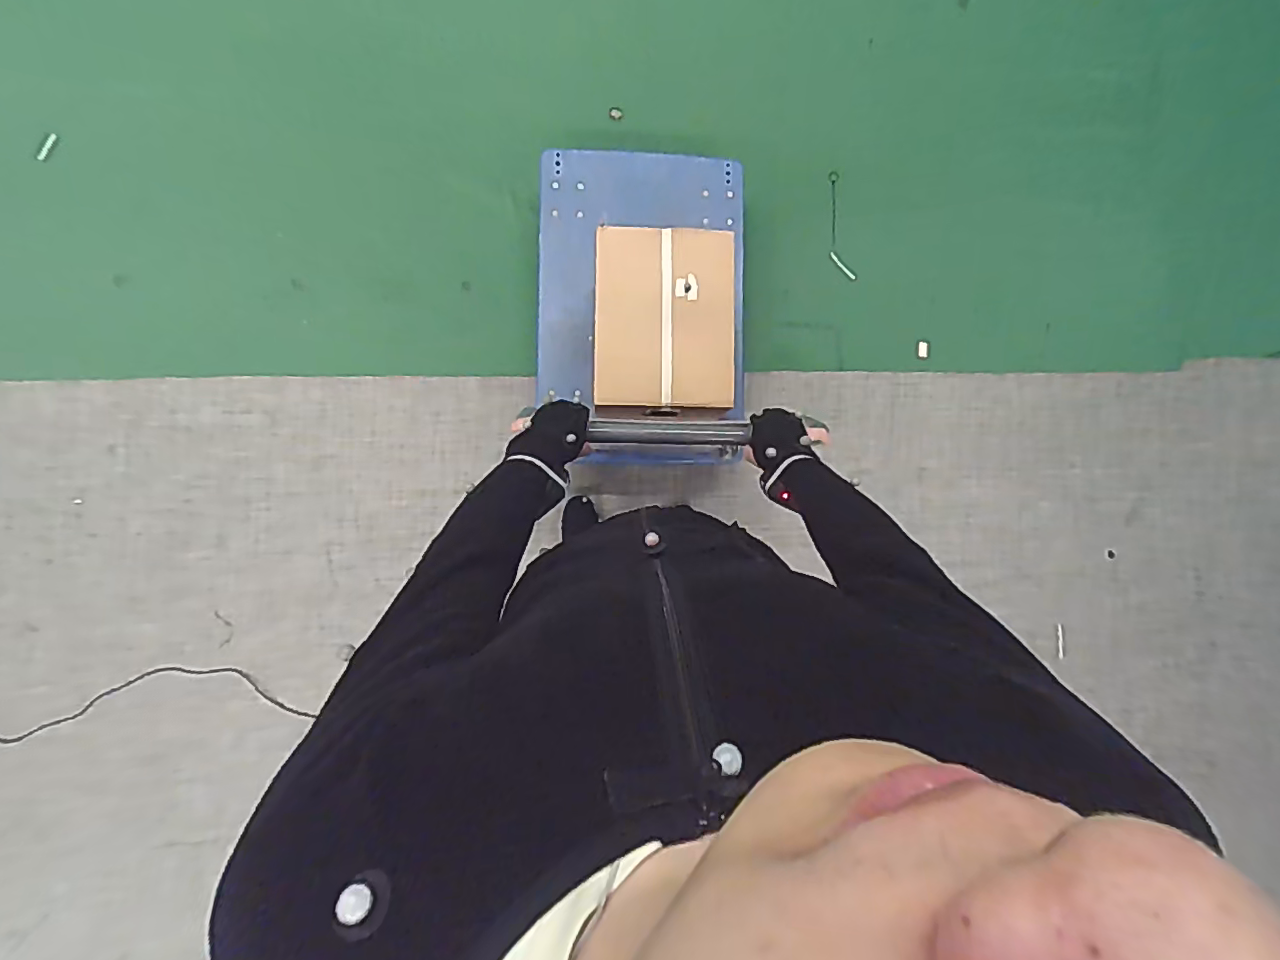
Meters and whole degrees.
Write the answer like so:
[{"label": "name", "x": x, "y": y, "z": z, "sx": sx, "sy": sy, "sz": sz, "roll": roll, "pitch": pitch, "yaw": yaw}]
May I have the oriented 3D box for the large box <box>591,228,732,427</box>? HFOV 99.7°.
[{"label": "large box", "x": 0.037, "y": -0.352, "z": 1.347, "sx": 0.320, "sy": 0.320, "sz": 0.408, "roll": 0, "pitch": 86, "yaw": -5}]
